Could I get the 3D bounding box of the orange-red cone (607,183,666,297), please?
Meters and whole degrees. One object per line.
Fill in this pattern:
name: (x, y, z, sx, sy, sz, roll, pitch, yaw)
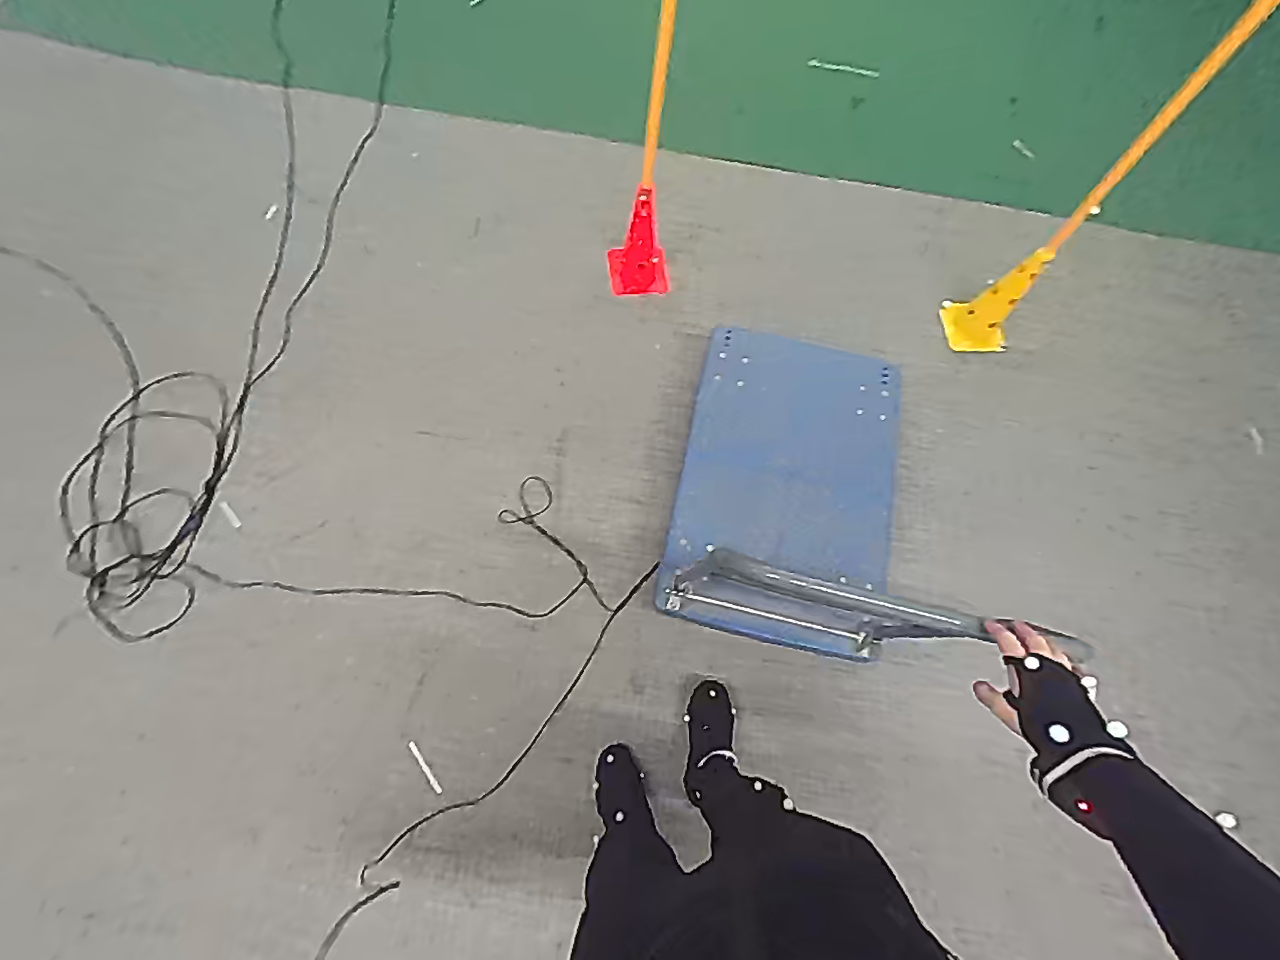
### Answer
orange-red cone: (-0.006, -0.780, 1.724, 0.199, 0.360, 0.198, -5, 69, -4)
